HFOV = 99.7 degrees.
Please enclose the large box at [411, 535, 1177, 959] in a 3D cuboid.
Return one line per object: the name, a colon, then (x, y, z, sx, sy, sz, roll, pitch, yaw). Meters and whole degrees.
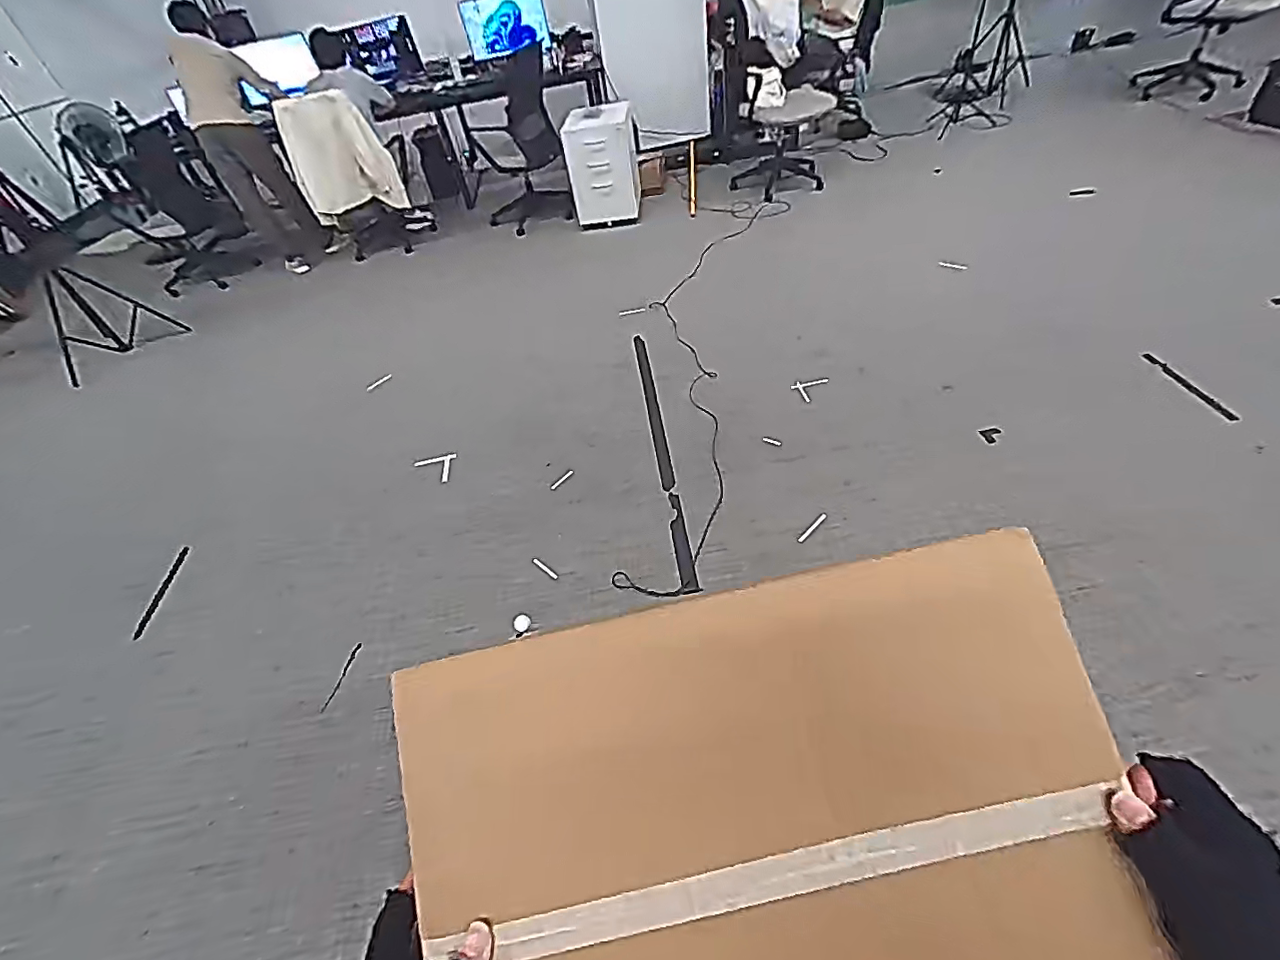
large box: (0.087, 0.260, 0.457, 0.408, 0.320, 0.320, -14, 78, 1)
